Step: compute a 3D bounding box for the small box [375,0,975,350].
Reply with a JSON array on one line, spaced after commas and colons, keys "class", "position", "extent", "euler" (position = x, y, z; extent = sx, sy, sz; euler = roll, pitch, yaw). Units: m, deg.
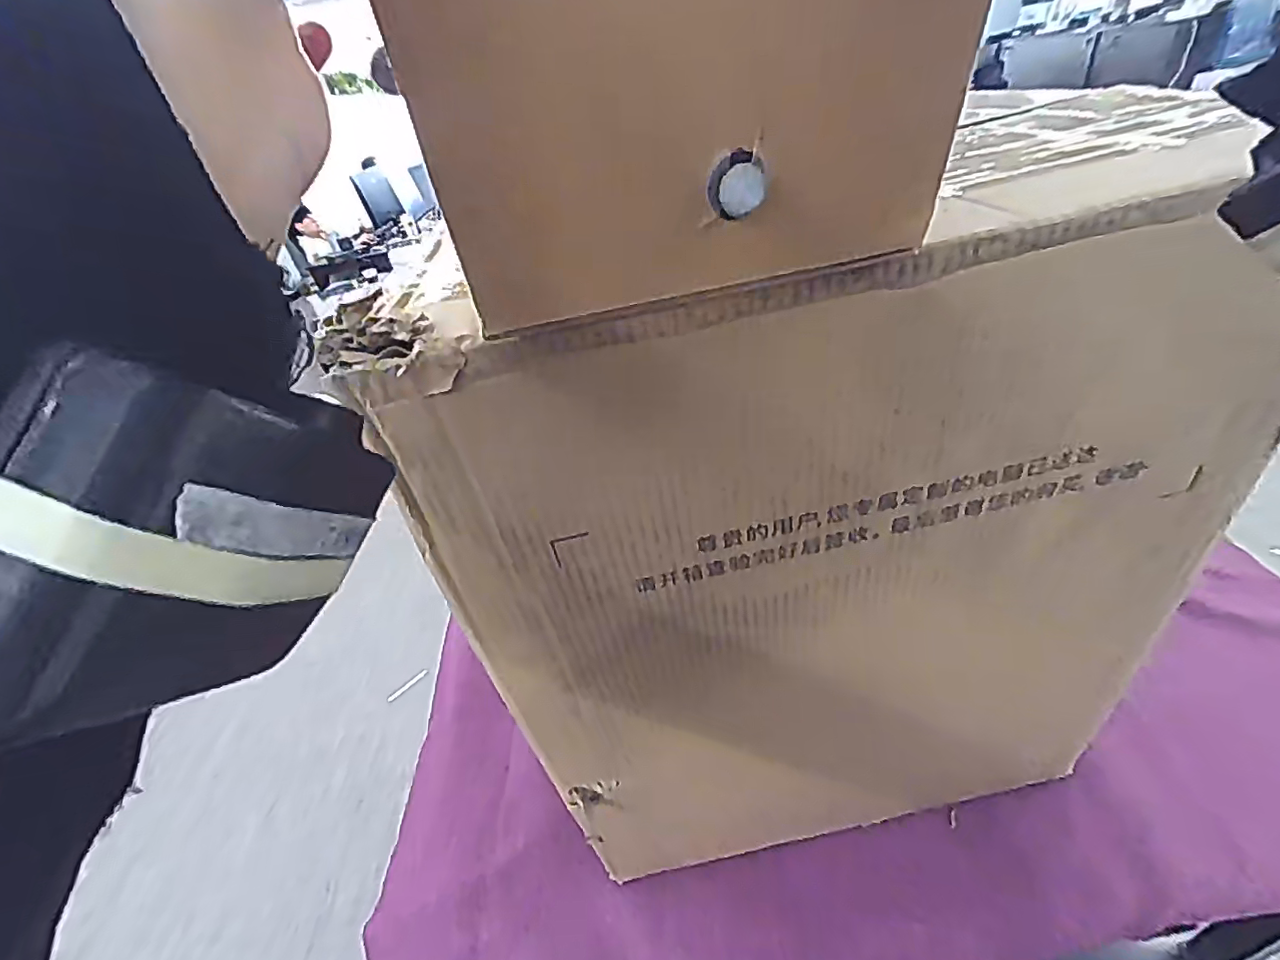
[{"class": "small box", "position": [0.001, -0.178, 0.208], "extent": [0.179, 0.176, 0.168], "euler": [-13, 46, -4]}]
